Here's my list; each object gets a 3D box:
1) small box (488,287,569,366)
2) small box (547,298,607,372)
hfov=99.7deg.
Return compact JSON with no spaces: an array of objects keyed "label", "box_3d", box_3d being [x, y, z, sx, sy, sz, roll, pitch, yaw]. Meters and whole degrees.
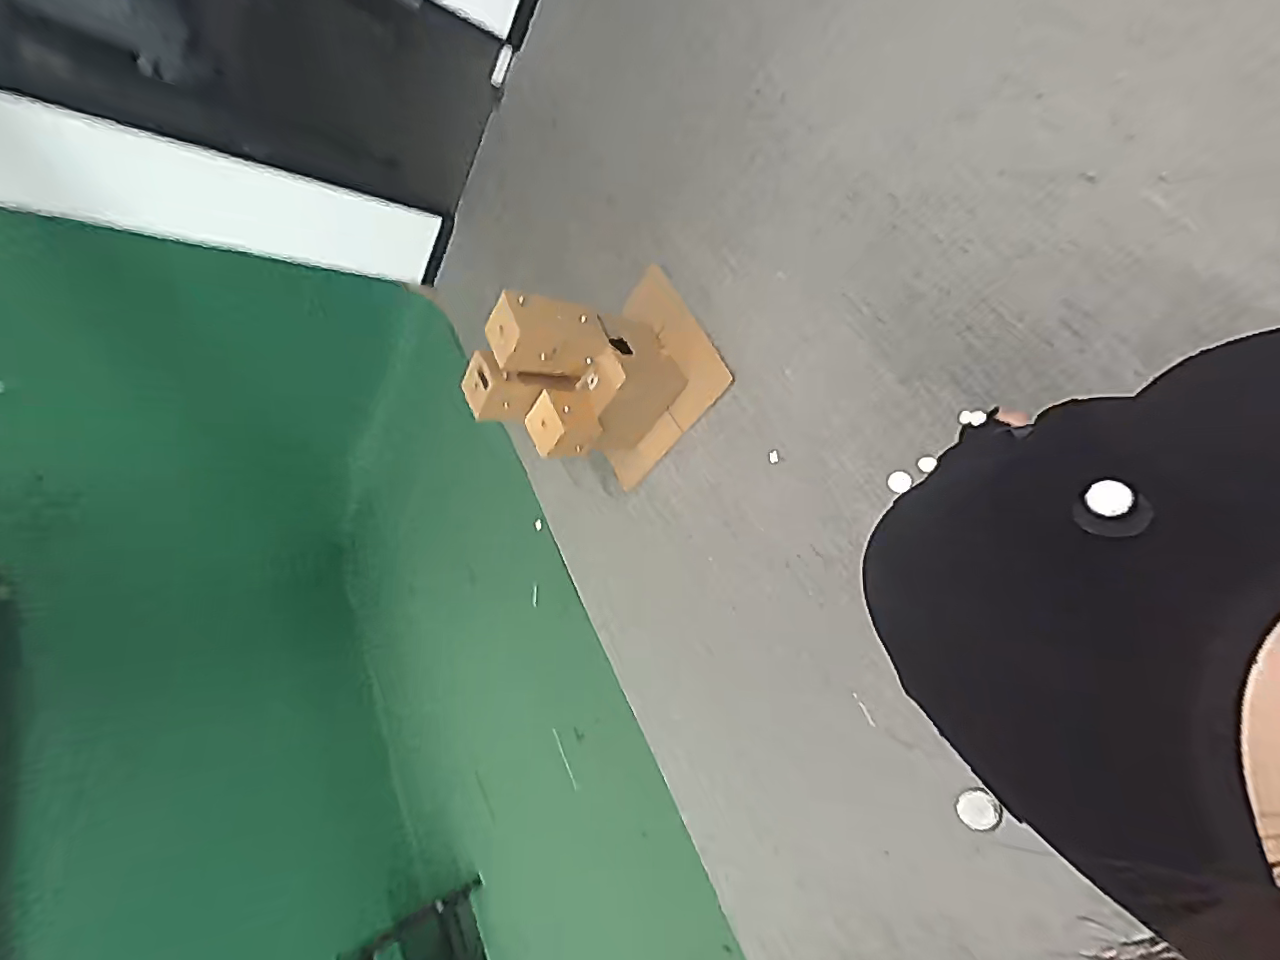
[{"label":"small box","box_3d":[-0.353,-0.476,1.709,0.168,0.176,0.179,-44,63,42]},{"label":"small box","box_3d":[-0.230,-0.484,1.823,0.179,0.176,0.168,-45,62,41]}]
